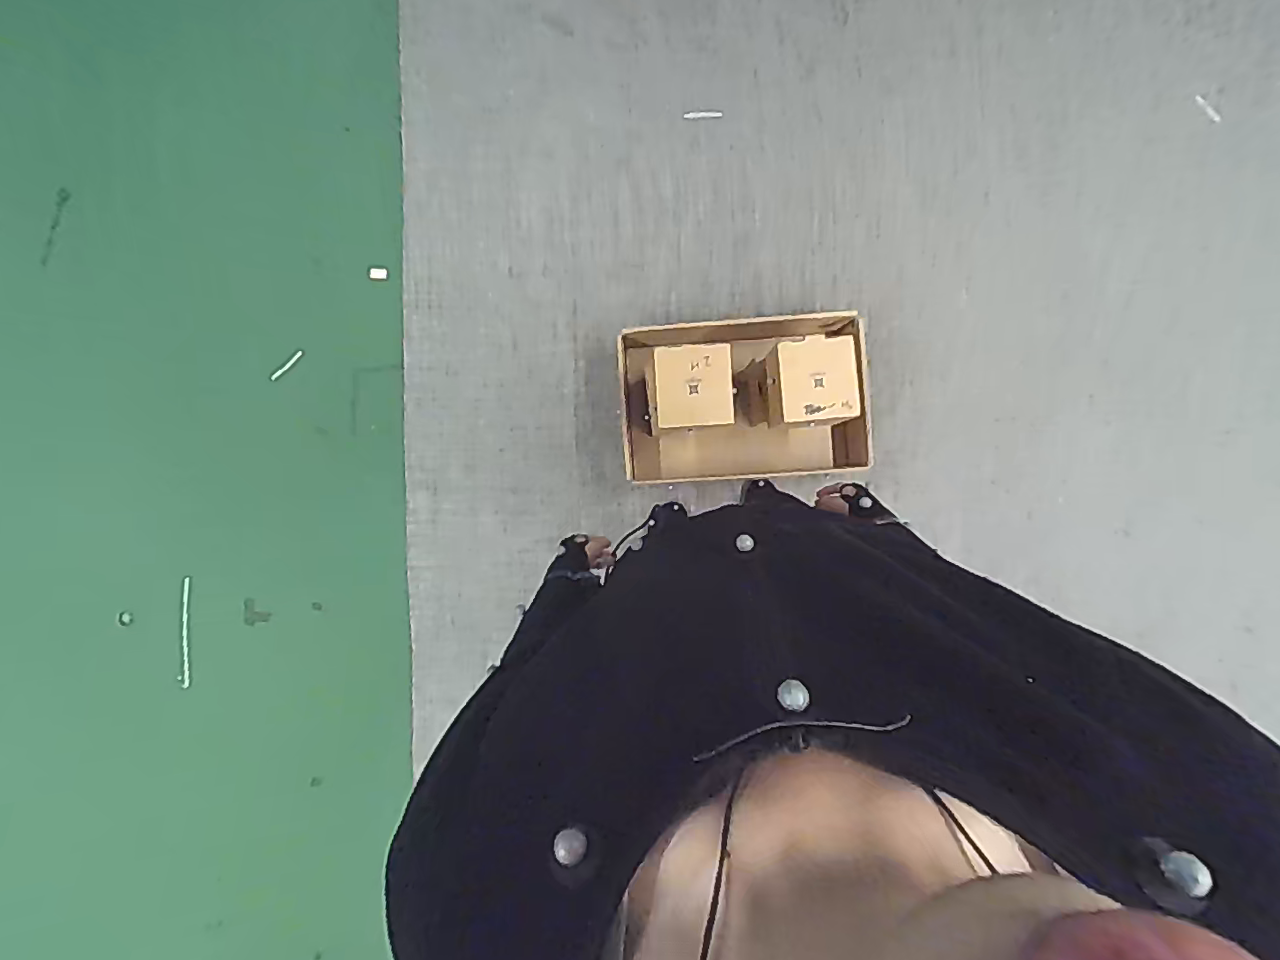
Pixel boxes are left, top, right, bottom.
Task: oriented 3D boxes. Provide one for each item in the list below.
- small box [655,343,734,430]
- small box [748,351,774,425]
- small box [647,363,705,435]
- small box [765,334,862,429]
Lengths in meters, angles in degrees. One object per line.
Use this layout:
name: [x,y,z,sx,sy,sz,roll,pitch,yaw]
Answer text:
small box: [0.120,-0.206,1.236,0.168,0.176,0.179,-3,90,0]
small box: [0.382,-0.239,1.393,0.179,0.176,0.168,-8,91,0]
small box: [0.113,-0.213,1.401,0.179,0.176,0.168,-7,90,-1]
small box: [0.387,-0.217,1.230,0.168,0.176,0.179,-5,89,2]
